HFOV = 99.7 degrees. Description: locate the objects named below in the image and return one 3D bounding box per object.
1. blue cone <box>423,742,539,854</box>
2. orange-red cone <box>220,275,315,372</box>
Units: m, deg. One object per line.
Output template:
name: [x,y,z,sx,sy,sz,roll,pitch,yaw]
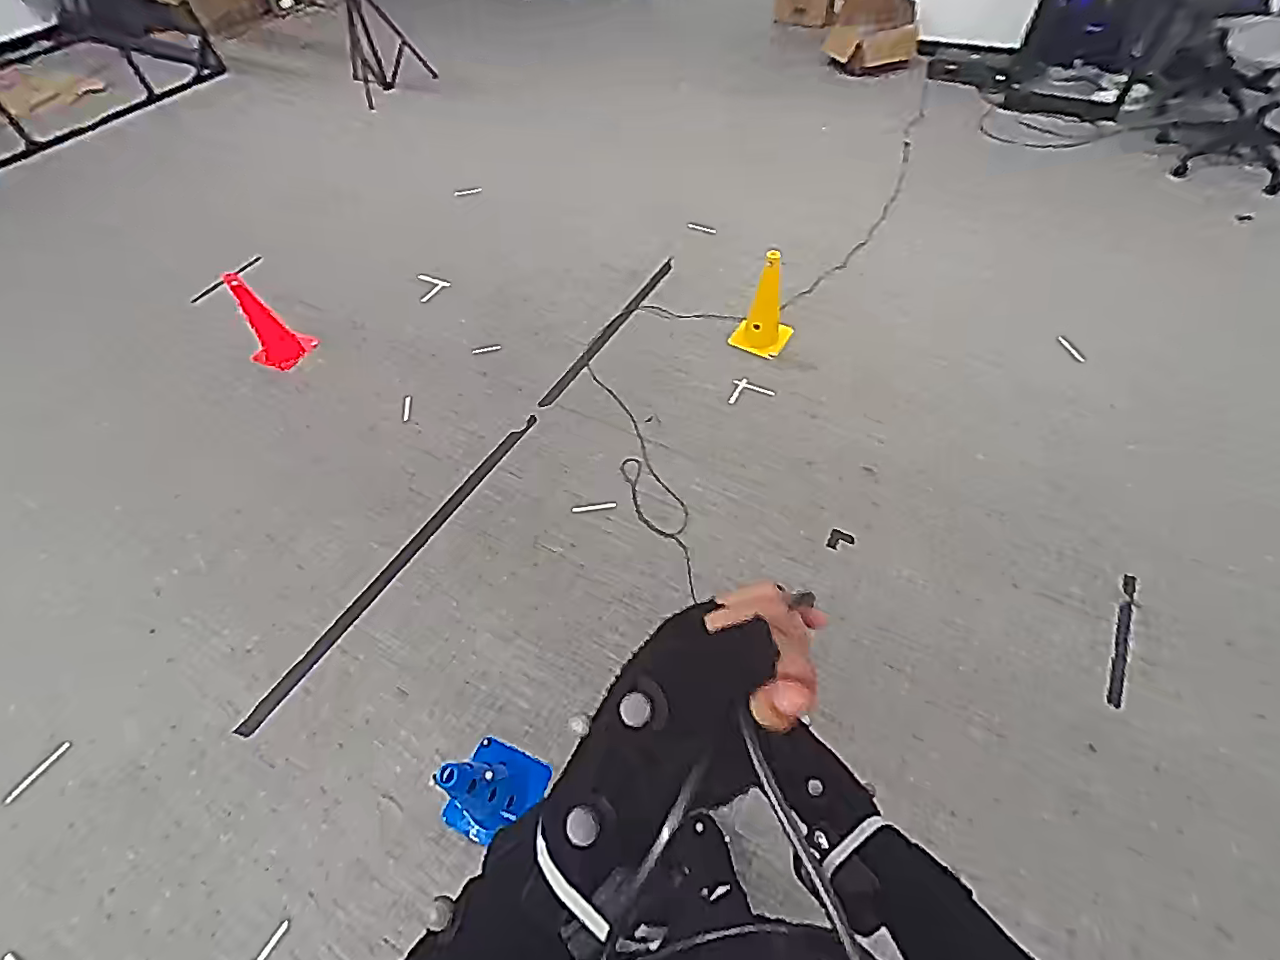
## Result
blue cone: [-0.354,0.641,1.123,0.192,0.380,0.193,19,59,17]
orange-red cone: [-1.485,-0.627,2.094,0.198,0.360,0.199,19,60,17]
